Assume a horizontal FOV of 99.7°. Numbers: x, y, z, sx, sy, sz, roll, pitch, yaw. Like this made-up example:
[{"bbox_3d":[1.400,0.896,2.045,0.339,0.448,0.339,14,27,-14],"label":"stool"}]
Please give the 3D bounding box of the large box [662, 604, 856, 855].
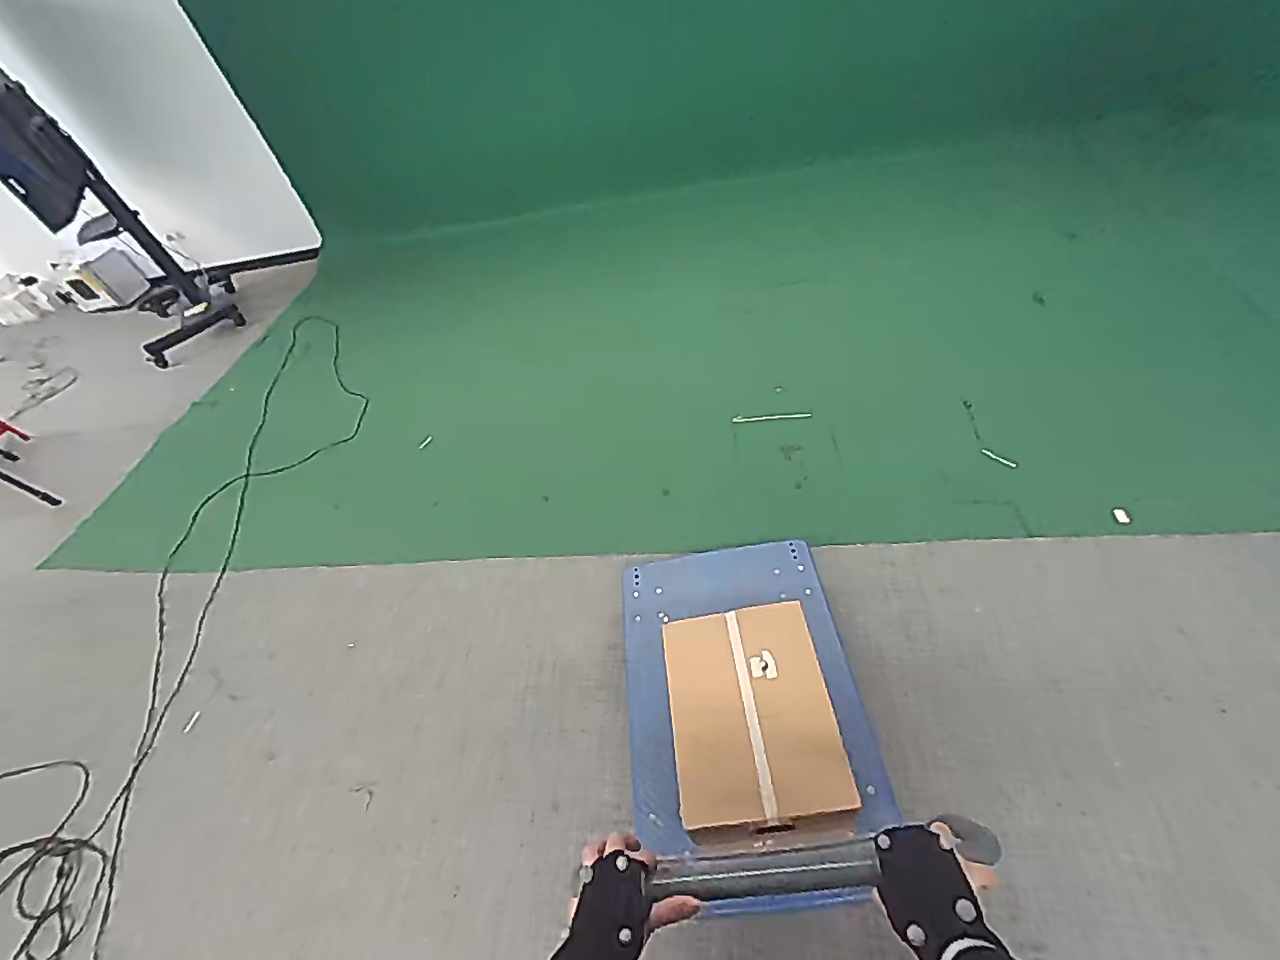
[{"bbox_3d":[0.247,0.548,1.194,0.320,0.320,0.408,-11,46,6],"label":"large box"}]
